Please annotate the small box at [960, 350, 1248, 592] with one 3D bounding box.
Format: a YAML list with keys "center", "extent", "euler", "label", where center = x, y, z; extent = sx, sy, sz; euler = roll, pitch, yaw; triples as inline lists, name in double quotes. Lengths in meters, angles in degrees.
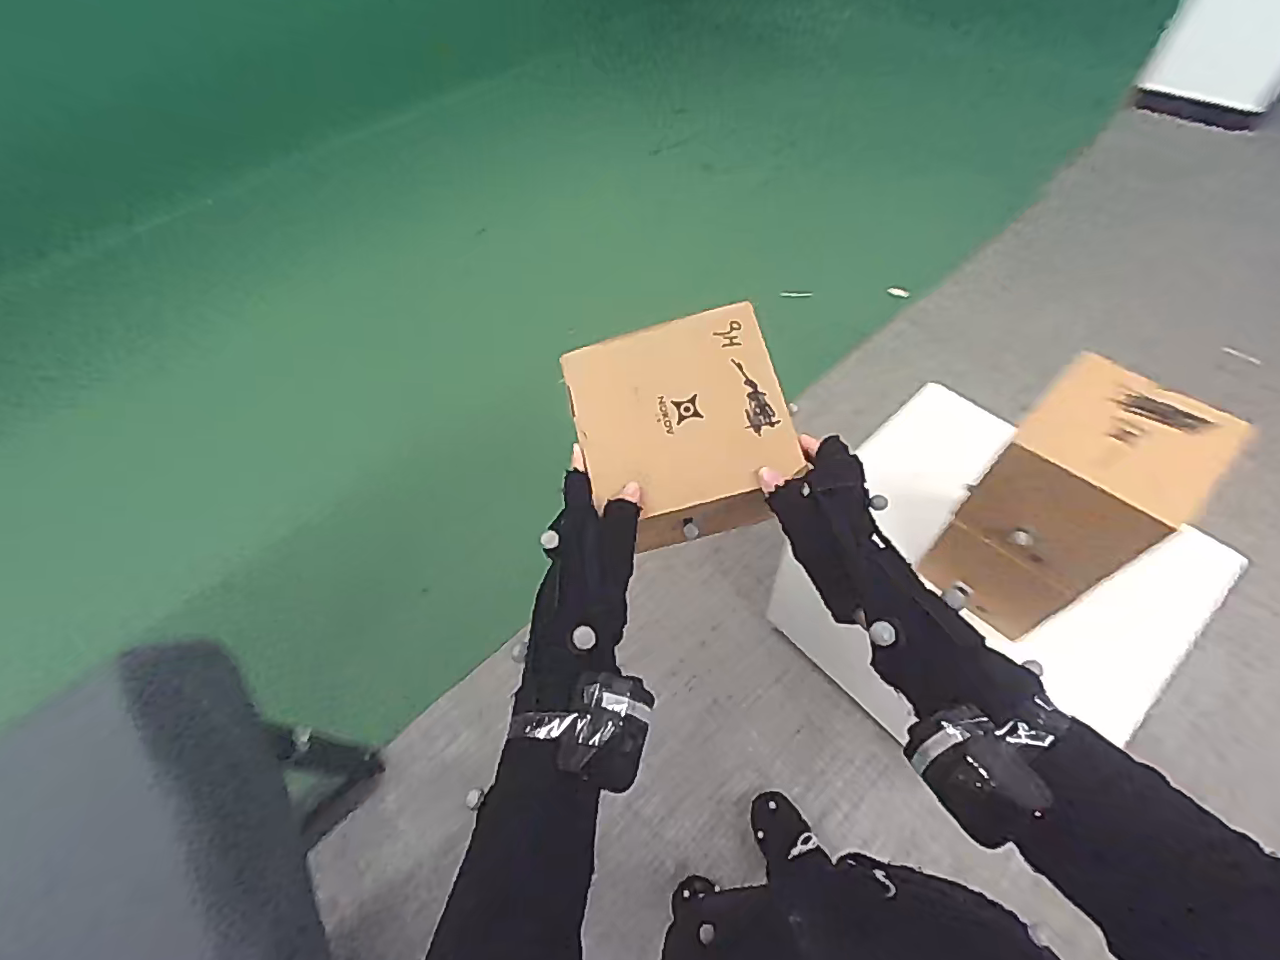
- center: [0.505, -0.008, 0.616]
  extent: [0.168, 0.176, 0.179]
  euler: [37, 67, 27]
  label: "small box"

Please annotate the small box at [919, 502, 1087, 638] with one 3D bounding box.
- center: [0.522, 0.085, 0.751]
  extent: [0.179, 0.176, 0.168]
  euler: [-42, 60, -17]
  label: "small box"
